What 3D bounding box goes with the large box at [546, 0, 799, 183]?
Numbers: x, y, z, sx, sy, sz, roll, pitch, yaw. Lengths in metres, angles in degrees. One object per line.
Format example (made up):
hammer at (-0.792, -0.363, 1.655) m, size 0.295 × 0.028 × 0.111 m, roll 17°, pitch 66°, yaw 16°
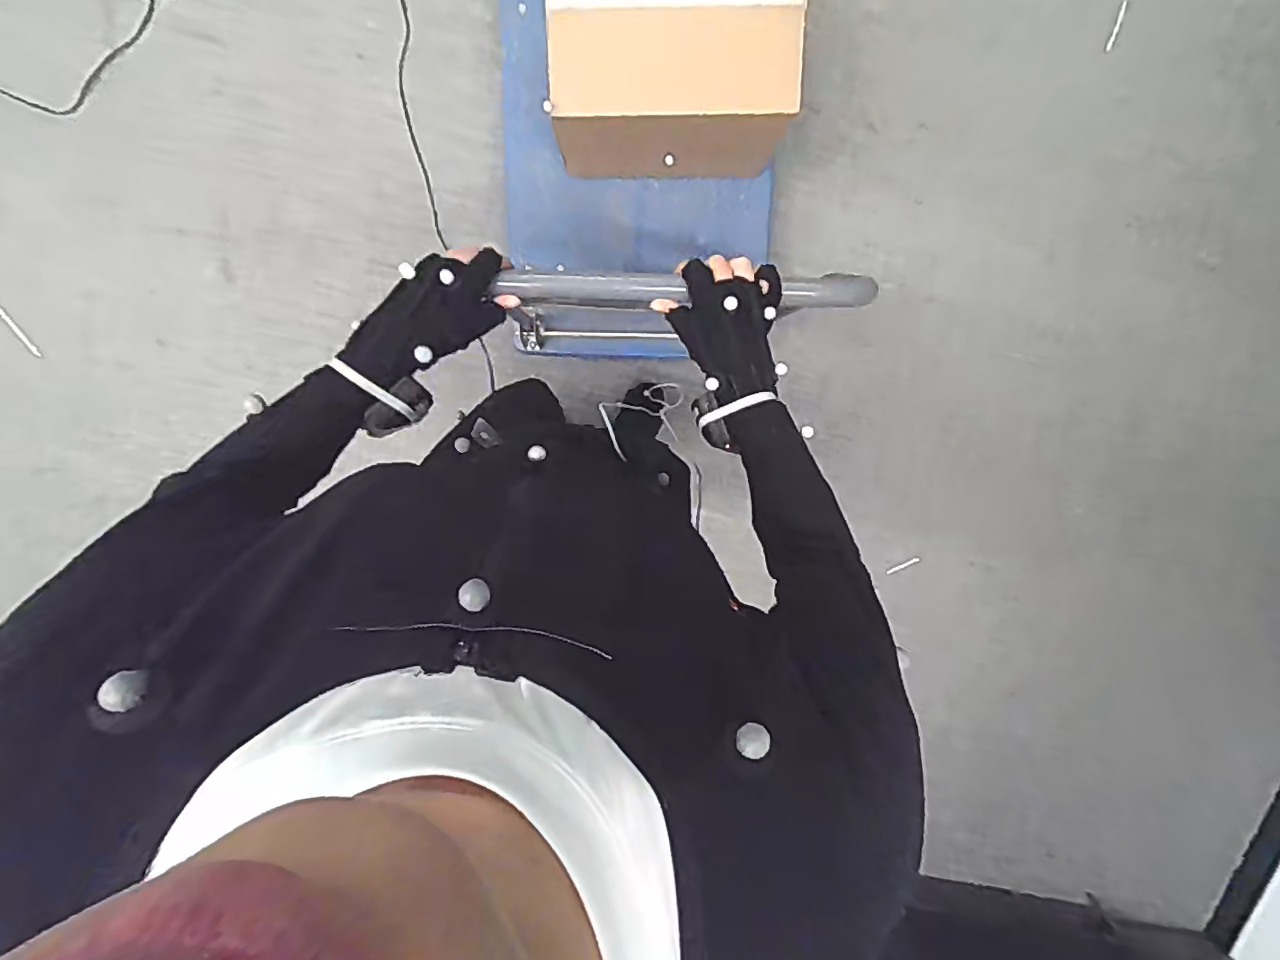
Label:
large box at (0.053, -0.761, 0.992) m, size 0.408 × 0.320 × 0.320 m, roll -1°, pitch 101°, yaw 0°
